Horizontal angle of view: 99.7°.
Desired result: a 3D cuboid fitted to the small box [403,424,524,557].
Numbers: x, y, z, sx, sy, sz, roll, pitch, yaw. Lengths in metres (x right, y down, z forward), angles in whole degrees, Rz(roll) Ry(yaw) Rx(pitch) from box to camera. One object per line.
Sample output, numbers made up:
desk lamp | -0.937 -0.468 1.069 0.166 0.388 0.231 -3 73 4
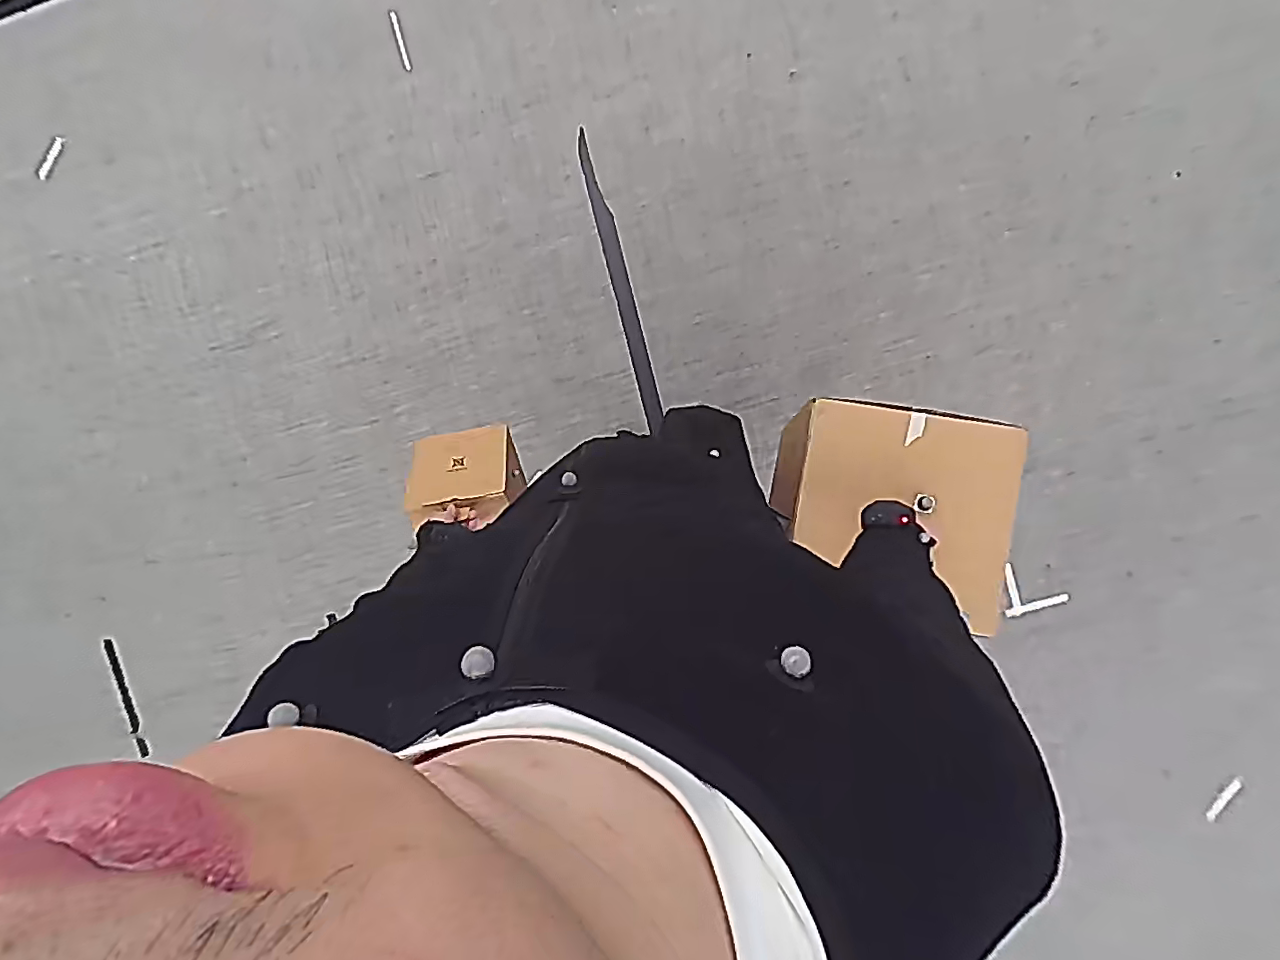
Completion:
small box | -0.311 0.026 0.990 0.168 0.179 0.176 -8 138 -4
